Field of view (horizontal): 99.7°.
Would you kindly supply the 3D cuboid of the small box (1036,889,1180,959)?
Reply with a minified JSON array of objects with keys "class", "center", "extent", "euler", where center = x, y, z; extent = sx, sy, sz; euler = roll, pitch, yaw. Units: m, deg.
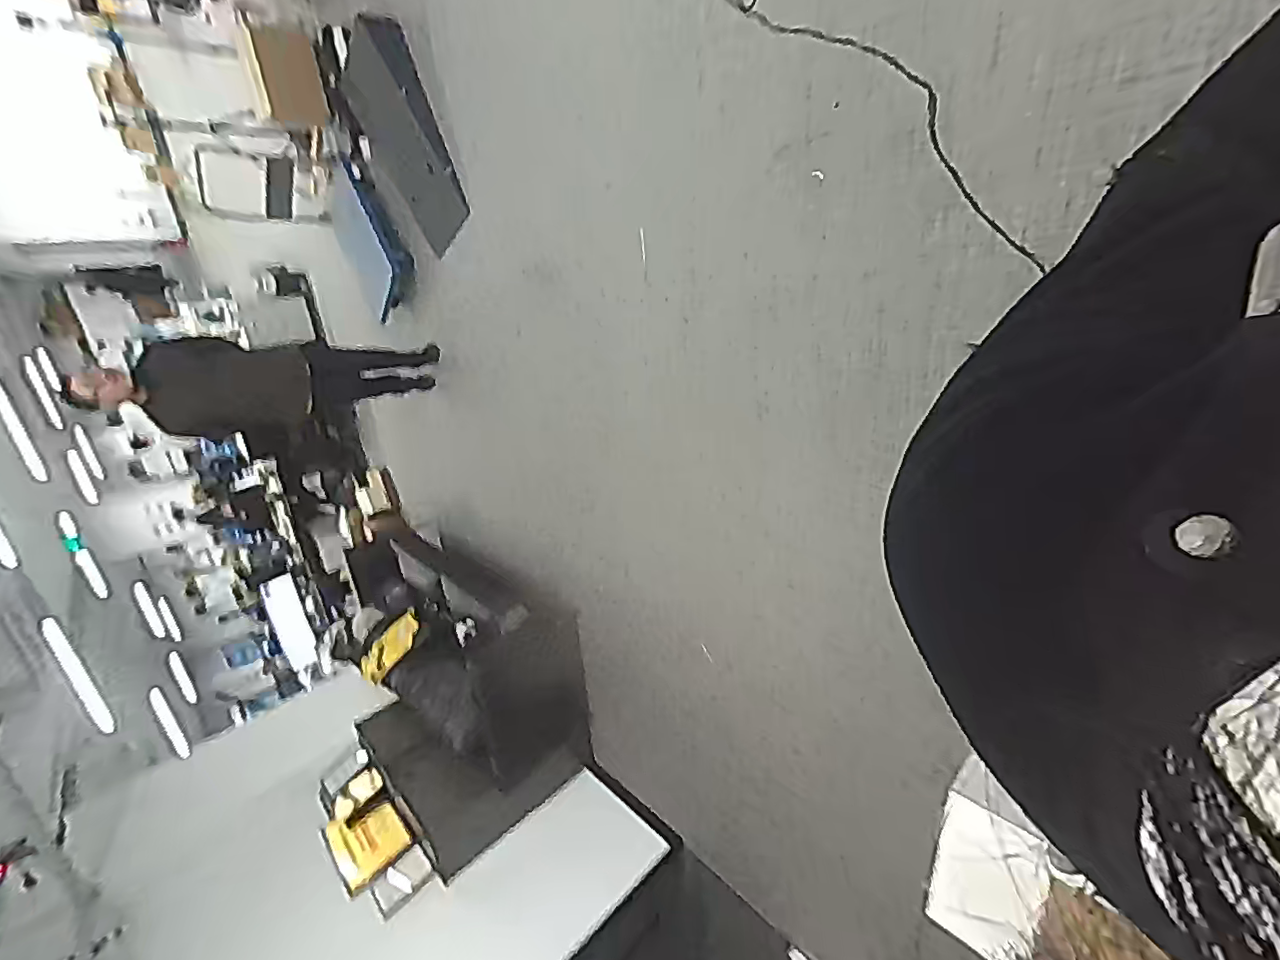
[{"class":"small box","center":[0.740,0.826,0.866],"extent":[0.168,0.176,0.179],"euler":[16,119,45]}]
